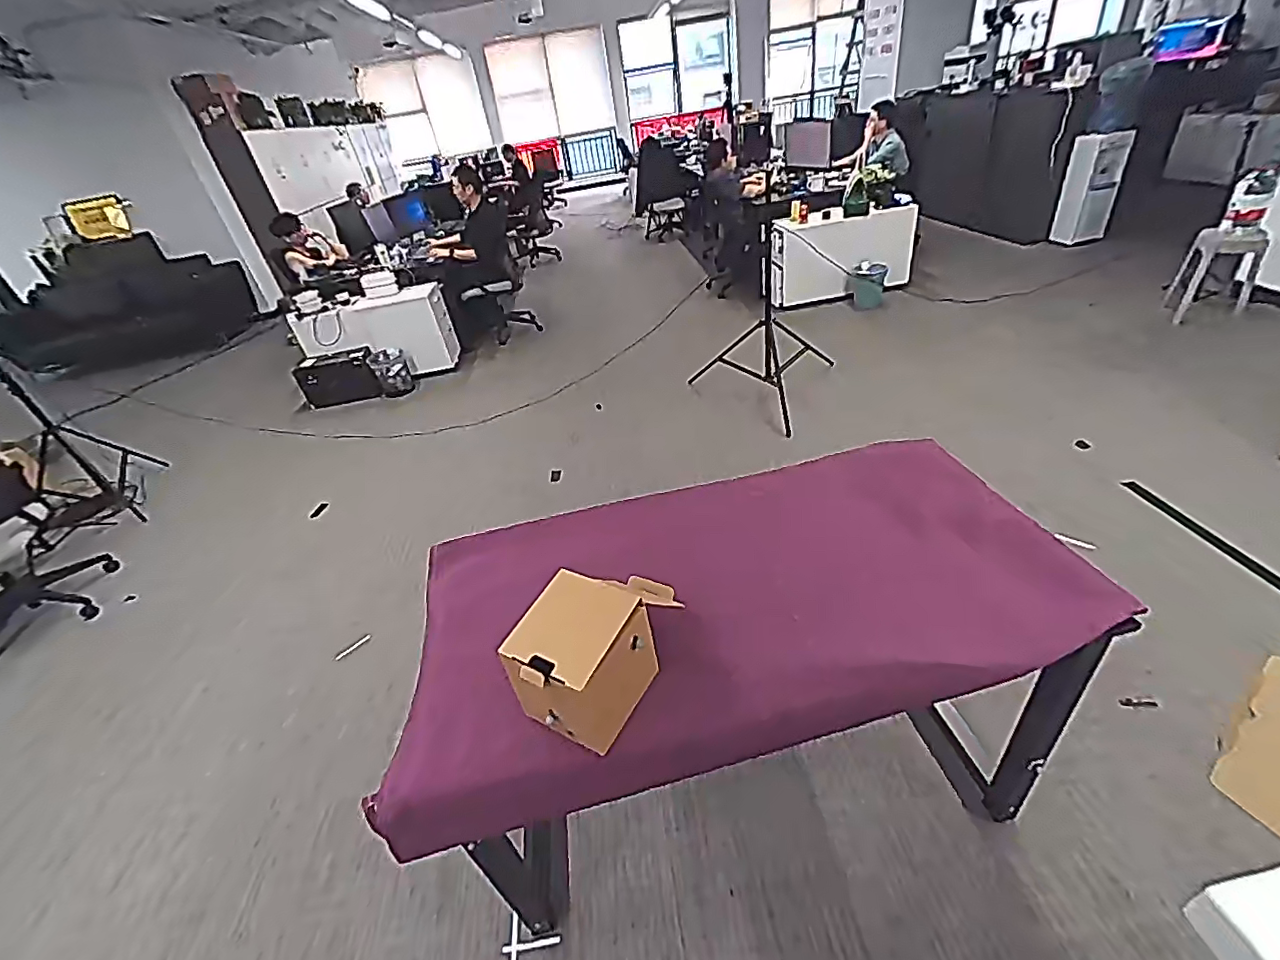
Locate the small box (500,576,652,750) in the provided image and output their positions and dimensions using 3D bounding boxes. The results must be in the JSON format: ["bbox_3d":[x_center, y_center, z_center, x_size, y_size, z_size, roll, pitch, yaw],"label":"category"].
[{"bbox_3d":[-0.093,0.294,0.884,0.168,0.176,0.179,12,40,31],"label":"small box"}]
